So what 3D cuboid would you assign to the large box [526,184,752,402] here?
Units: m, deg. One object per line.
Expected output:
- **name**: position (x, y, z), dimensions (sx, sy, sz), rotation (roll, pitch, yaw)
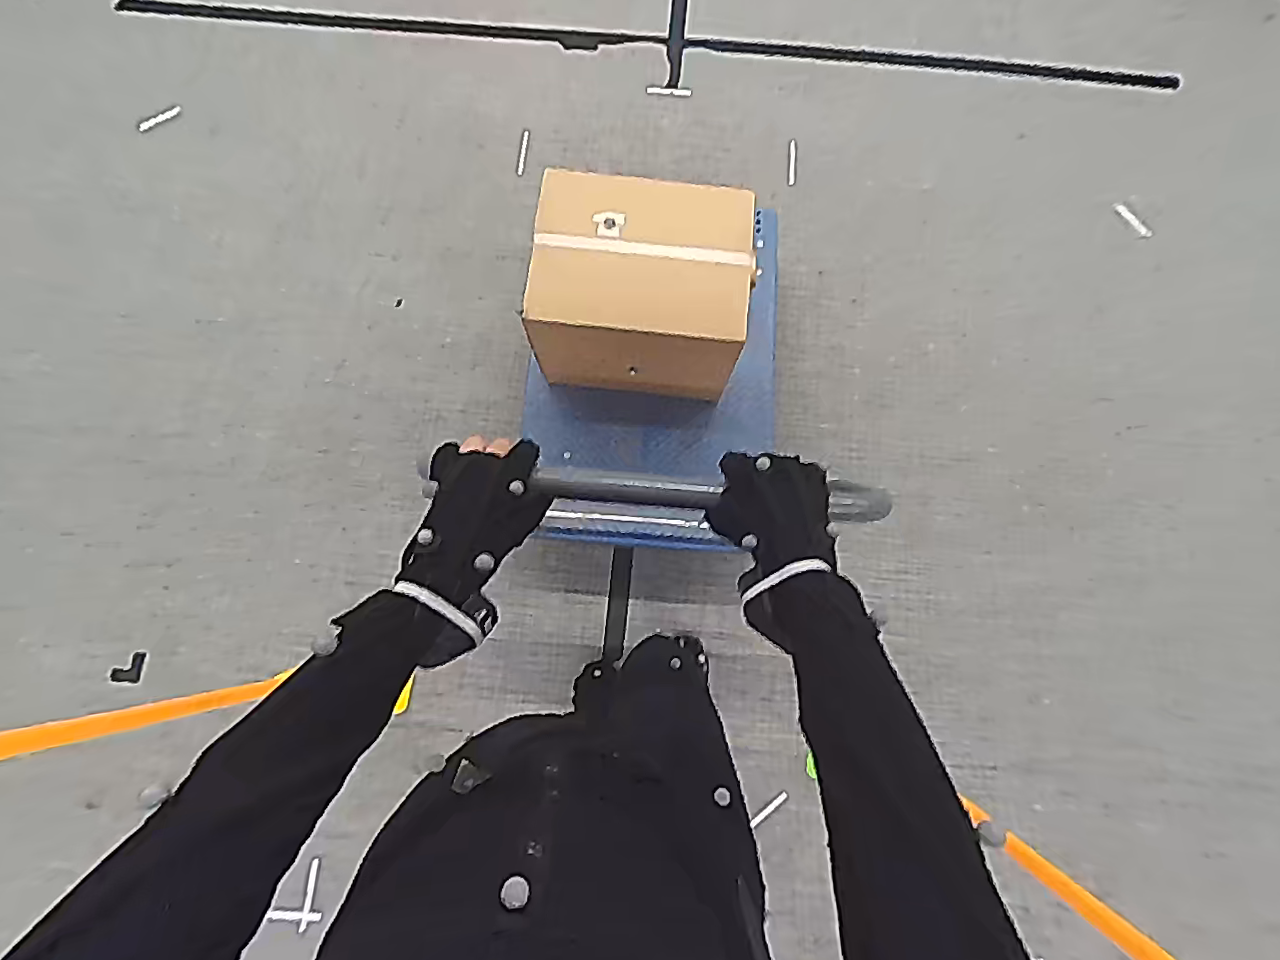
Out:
- **large box**: position (0.005, -0.372, 1.148), dimensions (0.408, 0.320, 0.320), rotation (6, 78, 1)
